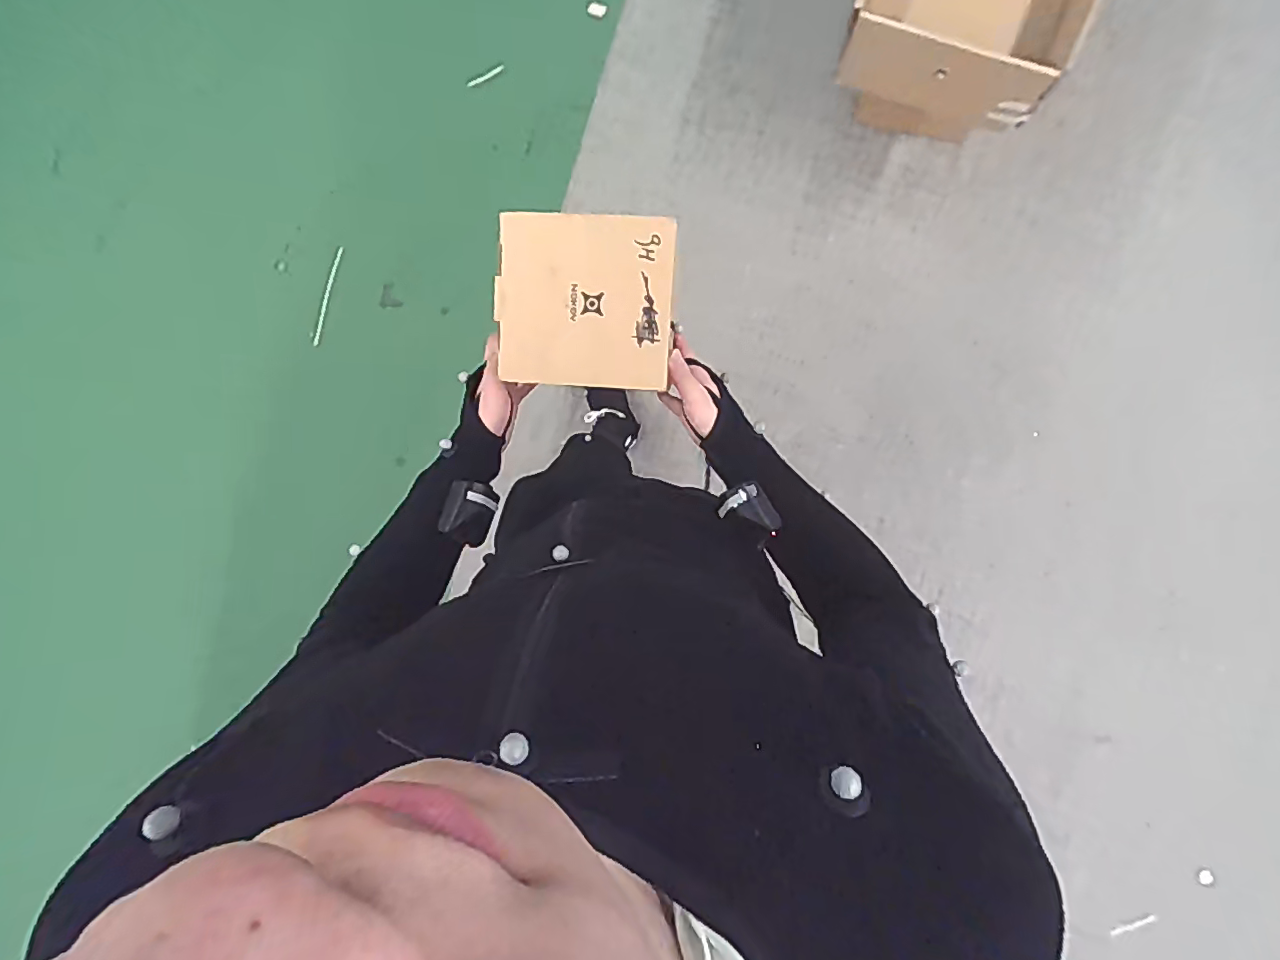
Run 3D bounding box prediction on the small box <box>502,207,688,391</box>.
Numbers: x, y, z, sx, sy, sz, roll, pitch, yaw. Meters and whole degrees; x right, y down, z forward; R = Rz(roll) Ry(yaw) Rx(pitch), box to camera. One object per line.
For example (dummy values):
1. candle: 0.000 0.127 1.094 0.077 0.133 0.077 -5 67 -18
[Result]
1. small box: -0.041 -0.190 0.611 0.179 0.176 0.168 6 100 4
